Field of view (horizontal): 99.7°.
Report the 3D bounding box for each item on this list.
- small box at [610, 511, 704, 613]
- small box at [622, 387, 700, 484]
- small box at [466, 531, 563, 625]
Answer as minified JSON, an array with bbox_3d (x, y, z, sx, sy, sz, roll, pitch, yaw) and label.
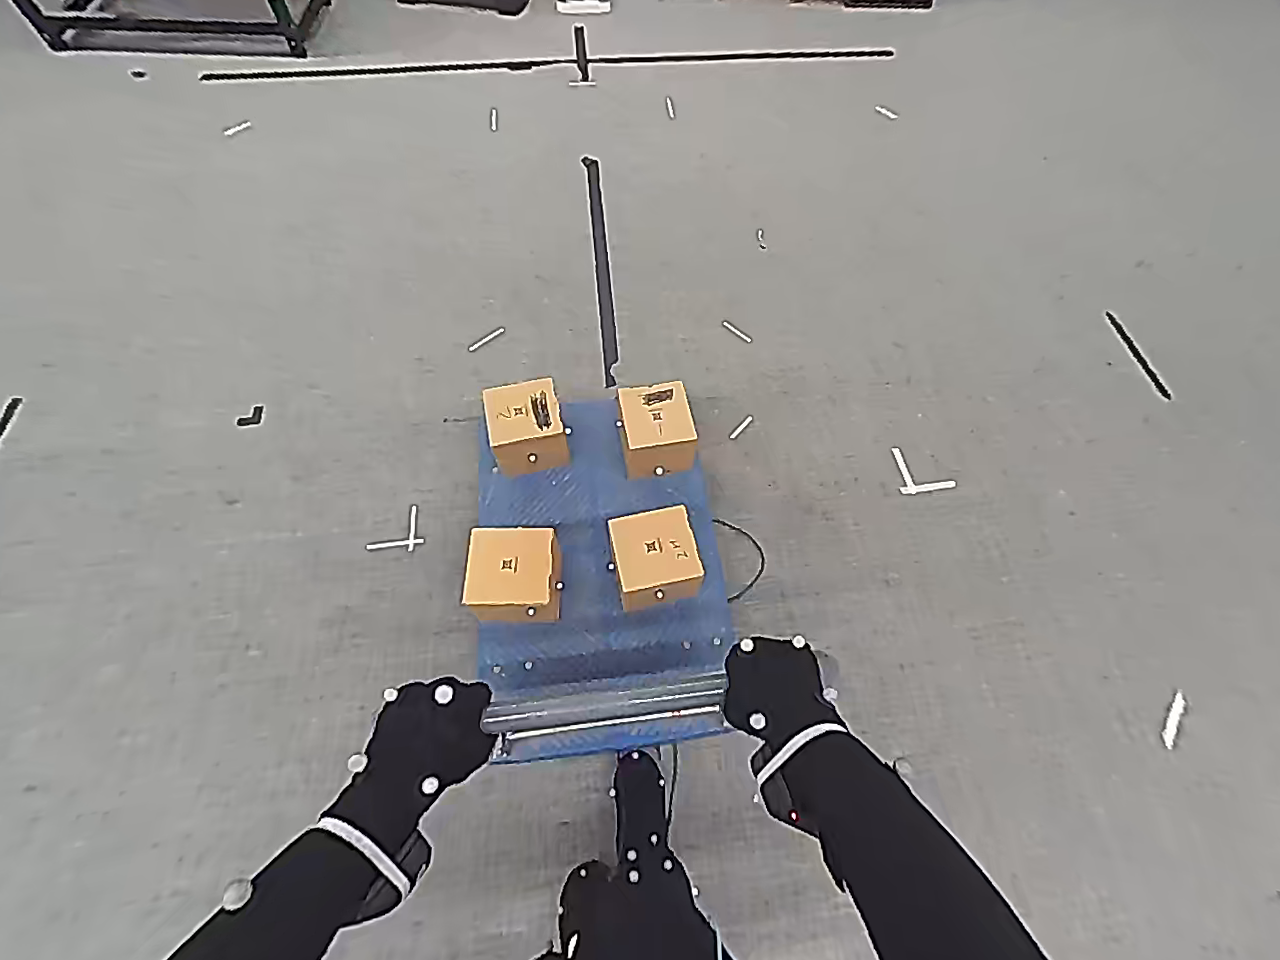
[{"bbox_3d":[0.035,0.190,1.221,0.179,0.176,0.168,-10,64,-7],"label":"small box"},{"bbox_3d":[0.045,-0.111,1.376,0.168,0.176,0.179,-9,64,-6],"label":"small box"},{"bbox_3d":[-0.268,0.222,1.198,0.179,0.176,0.168,0,62,-3],"label":"small box"}]
